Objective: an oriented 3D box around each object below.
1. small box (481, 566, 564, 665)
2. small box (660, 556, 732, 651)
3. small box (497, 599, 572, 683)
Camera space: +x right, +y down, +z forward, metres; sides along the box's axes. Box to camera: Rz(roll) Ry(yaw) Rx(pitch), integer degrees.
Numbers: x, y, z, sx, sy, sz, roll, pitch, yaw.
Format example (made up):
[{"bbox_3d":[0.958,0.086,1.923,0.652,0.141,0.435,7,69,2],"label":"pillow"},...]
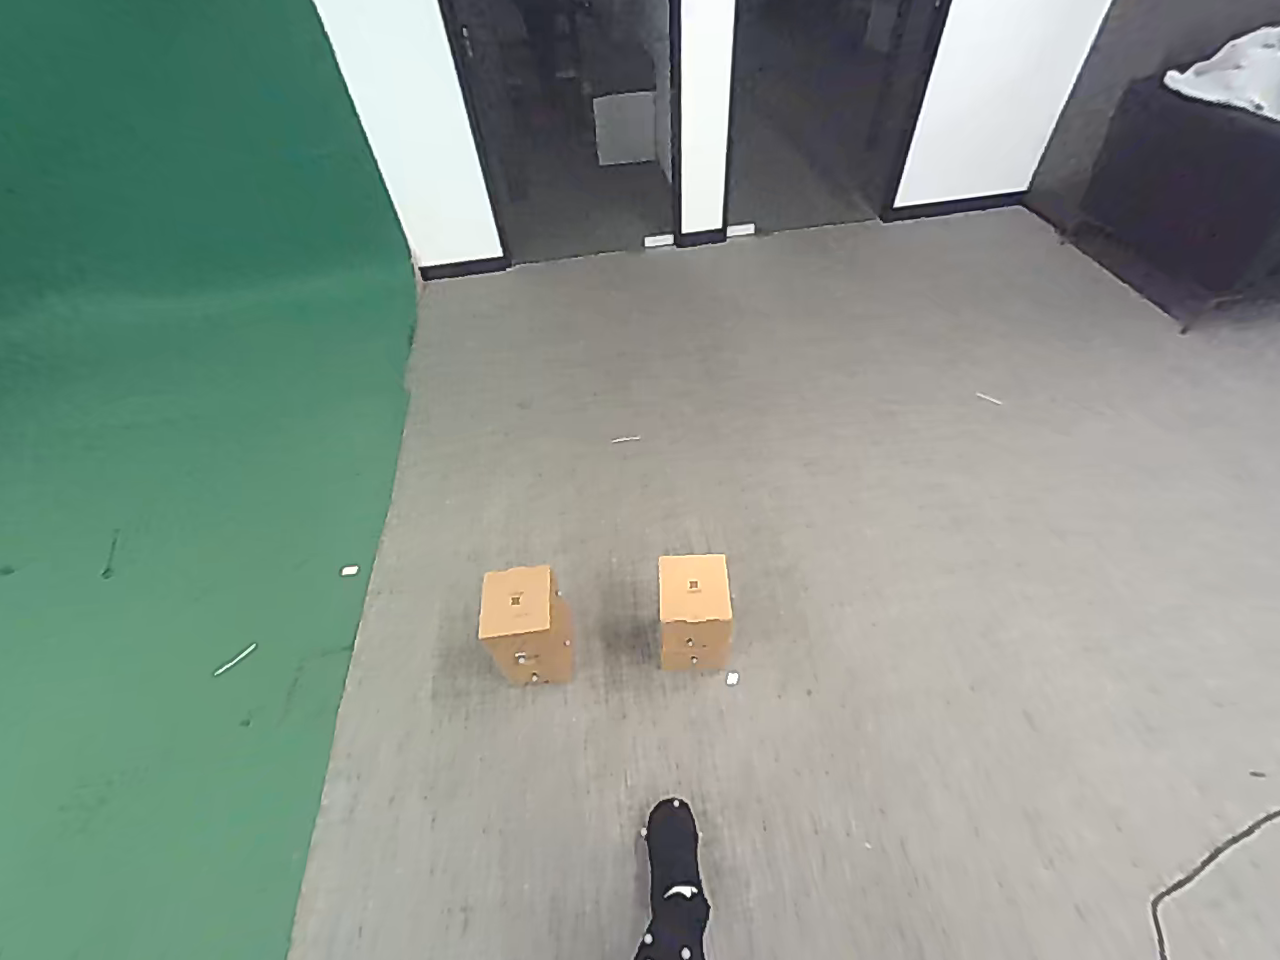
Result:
[{"bbox_3d":[-0.285,0.338,1.348,0.168,0.176,0.179,-8,51,-1],"label":"small box"},{"bbox_3d":[0.133,0.308,1.342,0.168,0.176,0.179,-2,51,3],"label":"small box"},{"bbox_3d":[-0.279,0.442,1.473,0.168,0.176,0.179,-5,51,0],"label":"small box"}]
